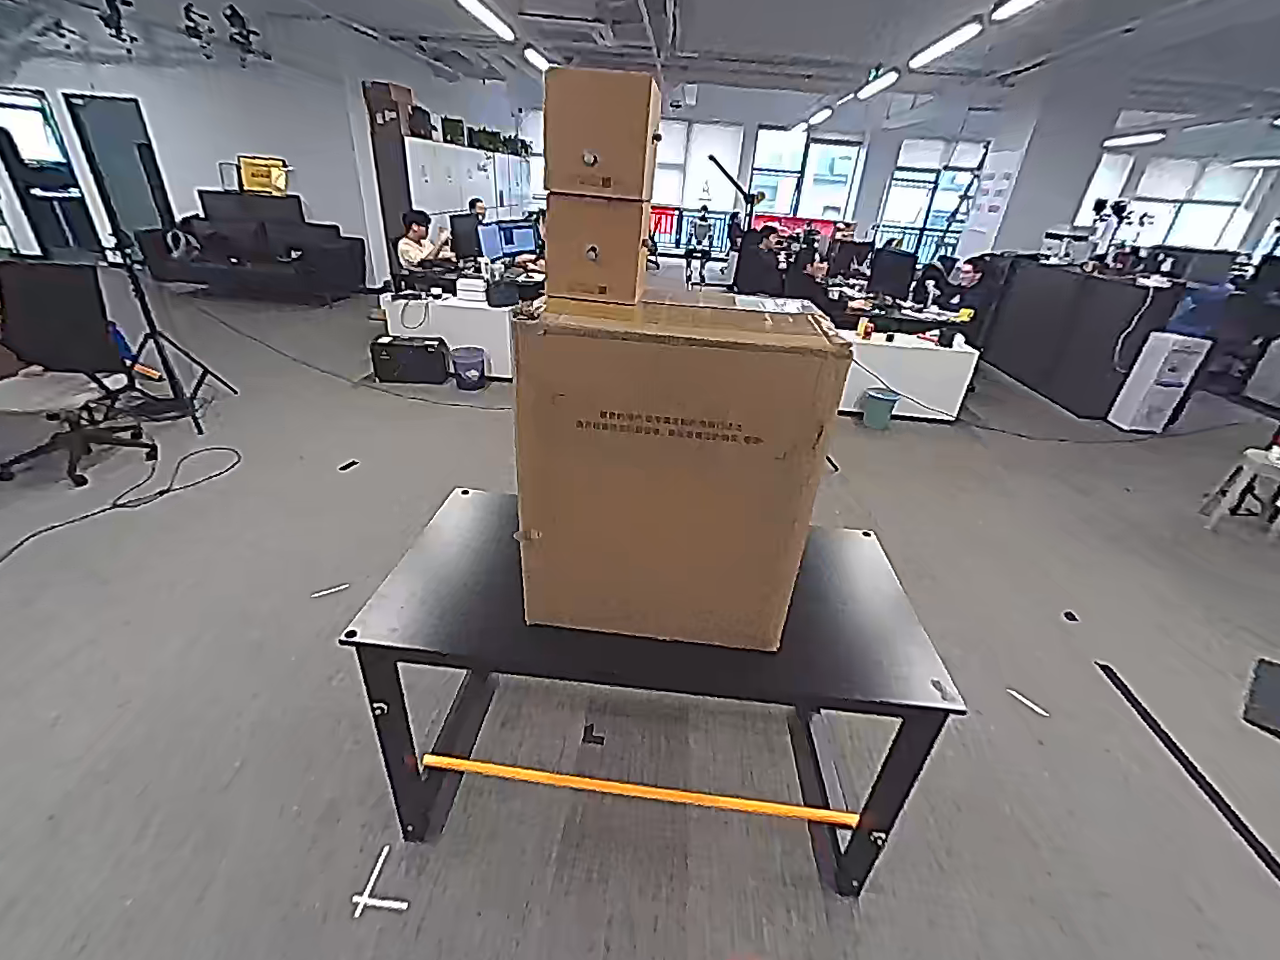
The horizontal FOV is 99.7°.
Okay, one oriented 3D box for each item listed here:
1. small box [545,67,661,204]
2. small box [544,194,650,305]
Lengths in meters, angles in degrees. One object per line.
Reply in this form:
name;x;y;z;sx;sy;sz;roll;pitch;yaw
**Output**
small box;-0.061;-0.564;0.906;0.168;0.176;0.179;7;28;3
small box;-0.075;-0.427;0.999;0.168;0.176;0.179;7;28;2
